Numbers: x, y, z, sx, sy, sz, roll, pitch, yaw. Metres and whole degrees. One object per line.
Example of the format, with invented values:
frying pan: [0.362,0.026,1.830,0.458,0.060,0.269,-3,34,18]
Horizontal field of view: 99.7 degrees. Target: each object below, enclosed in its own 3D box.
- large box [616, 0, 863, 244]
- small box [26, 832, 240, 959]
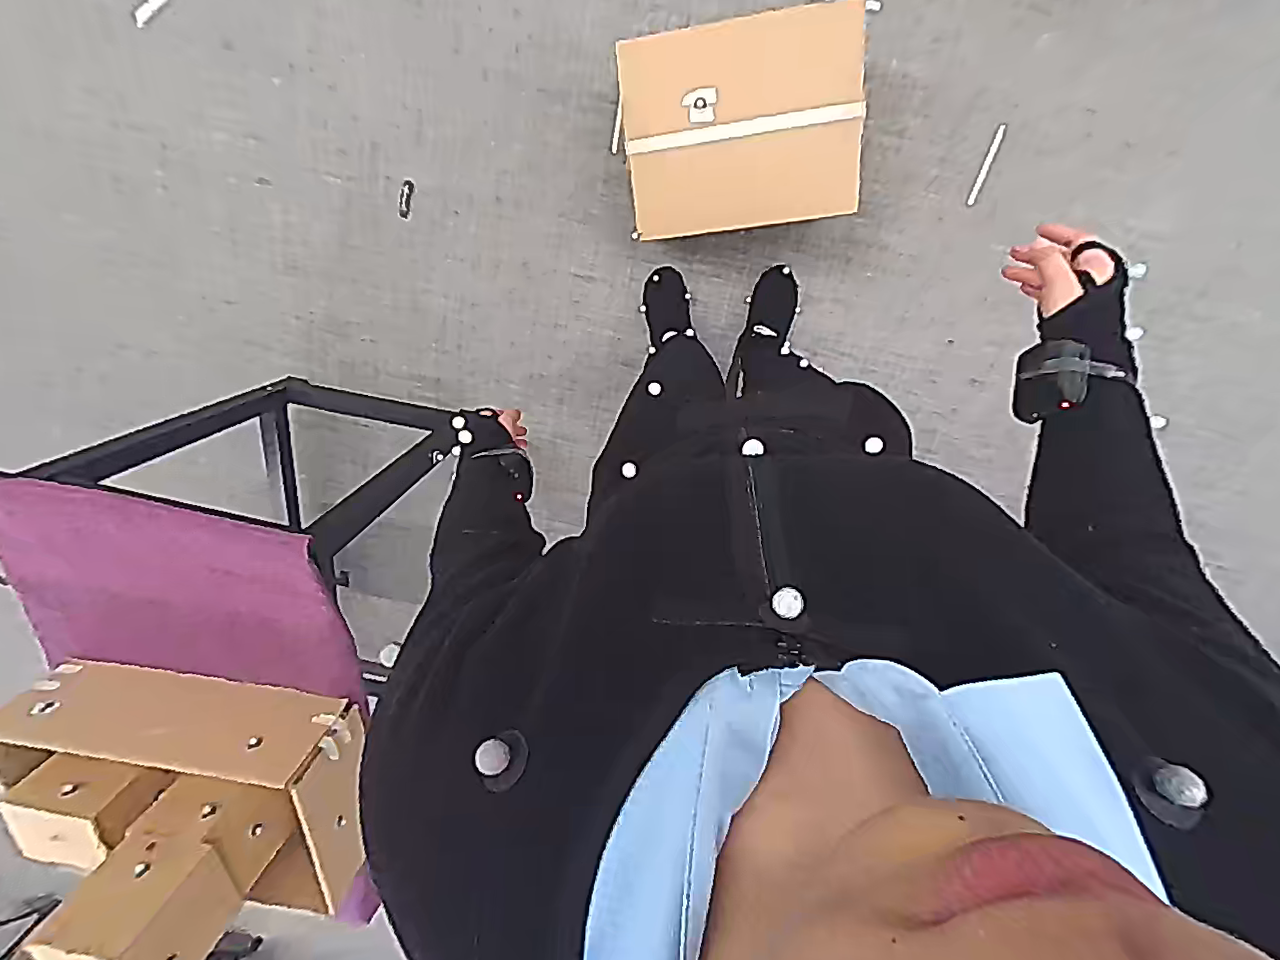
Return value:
large box: [0.195,-0.668,1.064,0.408,0.320,0.320,-4,114,10]
small box: [-0.816,0.729,0.895,0.168,0.176,0.179,3,115,8]
